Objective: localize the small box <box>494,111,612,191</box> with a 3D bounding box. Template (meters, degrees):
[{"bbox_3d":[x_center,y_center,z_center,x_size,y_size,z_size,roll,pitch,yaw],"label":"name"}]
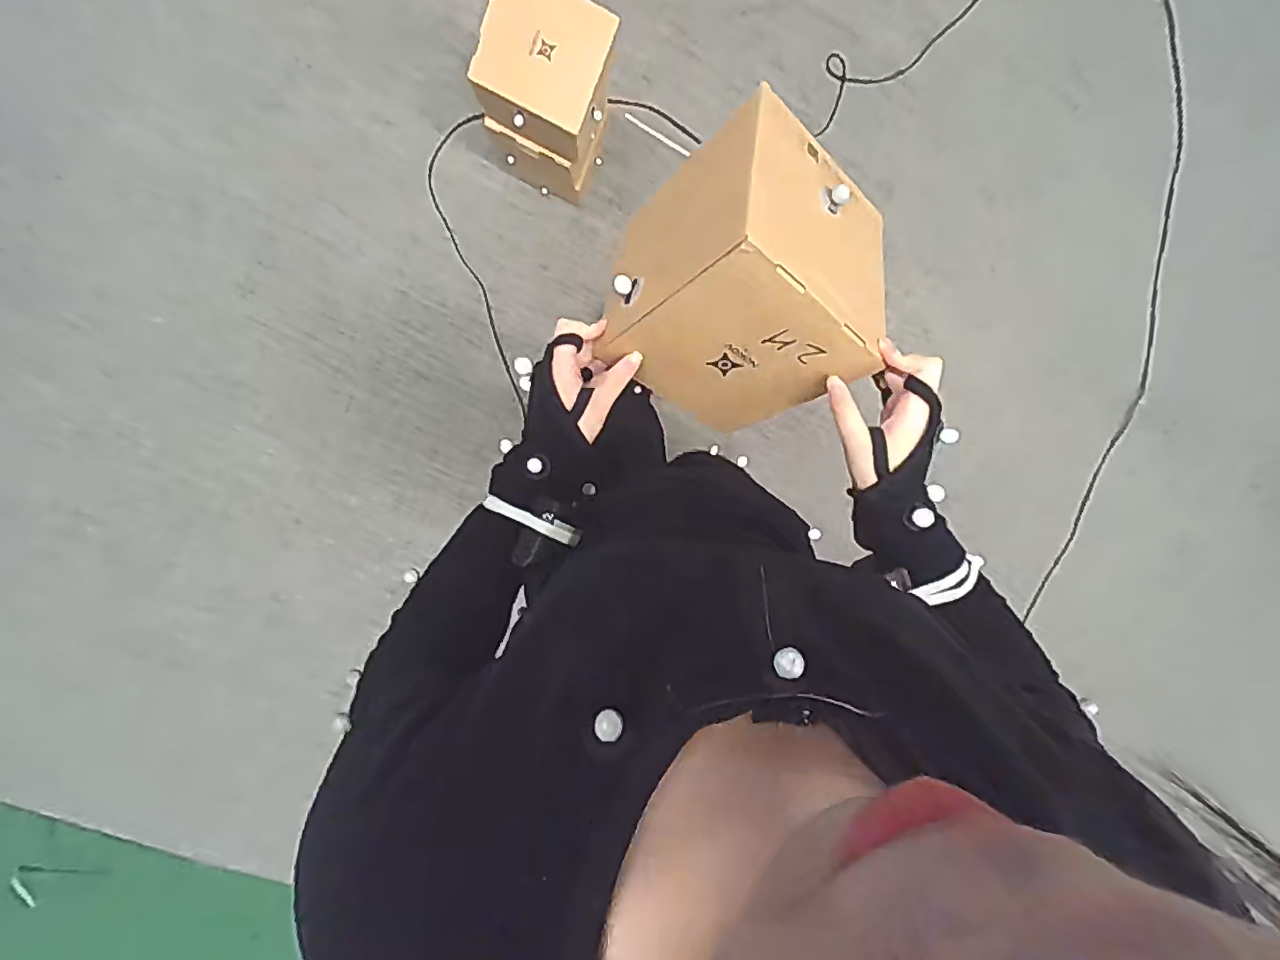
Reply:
[{"bbox_3d":[-0.155,-0.684,1.027,0.168,0.176,0.179,23,103,-9],"label":"small box"}]

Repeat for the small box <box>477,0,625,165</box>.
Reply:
[{"bbox_3d":[-0.134,-0.639,0.871,0.179,0.176,0.168,23,104,-8],"label":"small box"}]
